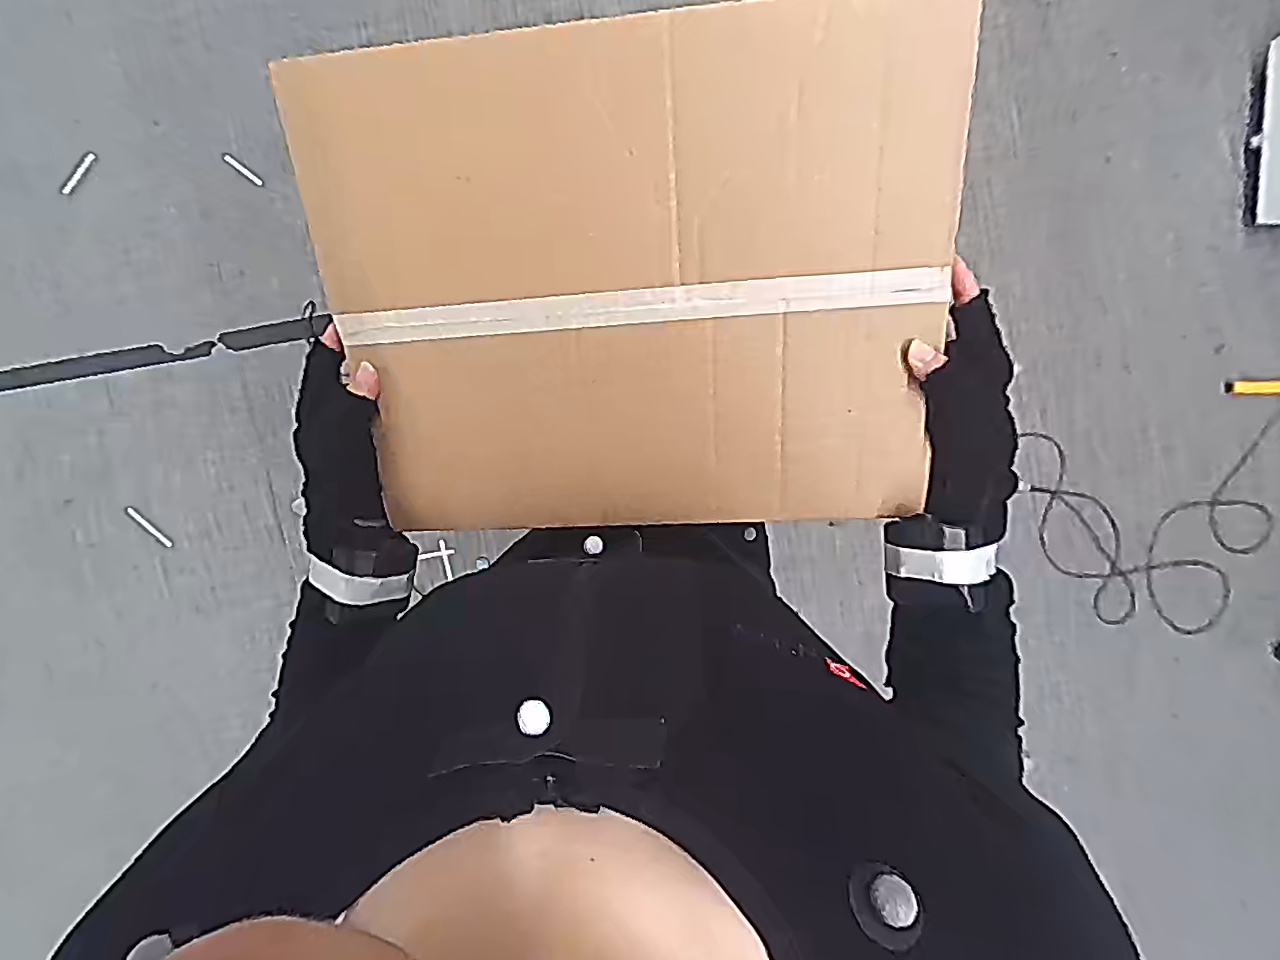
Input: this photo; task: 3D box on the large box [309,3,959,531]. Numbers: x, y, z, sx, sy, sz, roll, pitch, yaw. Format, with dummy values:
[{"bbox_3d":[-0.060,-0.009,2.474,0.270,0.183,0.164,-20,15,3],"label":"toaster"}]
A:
[{"bbox_3d":[0.006,-0.163,0.512,0.408,0.320,0.320,-3,111,6],"label":"large box"}]
